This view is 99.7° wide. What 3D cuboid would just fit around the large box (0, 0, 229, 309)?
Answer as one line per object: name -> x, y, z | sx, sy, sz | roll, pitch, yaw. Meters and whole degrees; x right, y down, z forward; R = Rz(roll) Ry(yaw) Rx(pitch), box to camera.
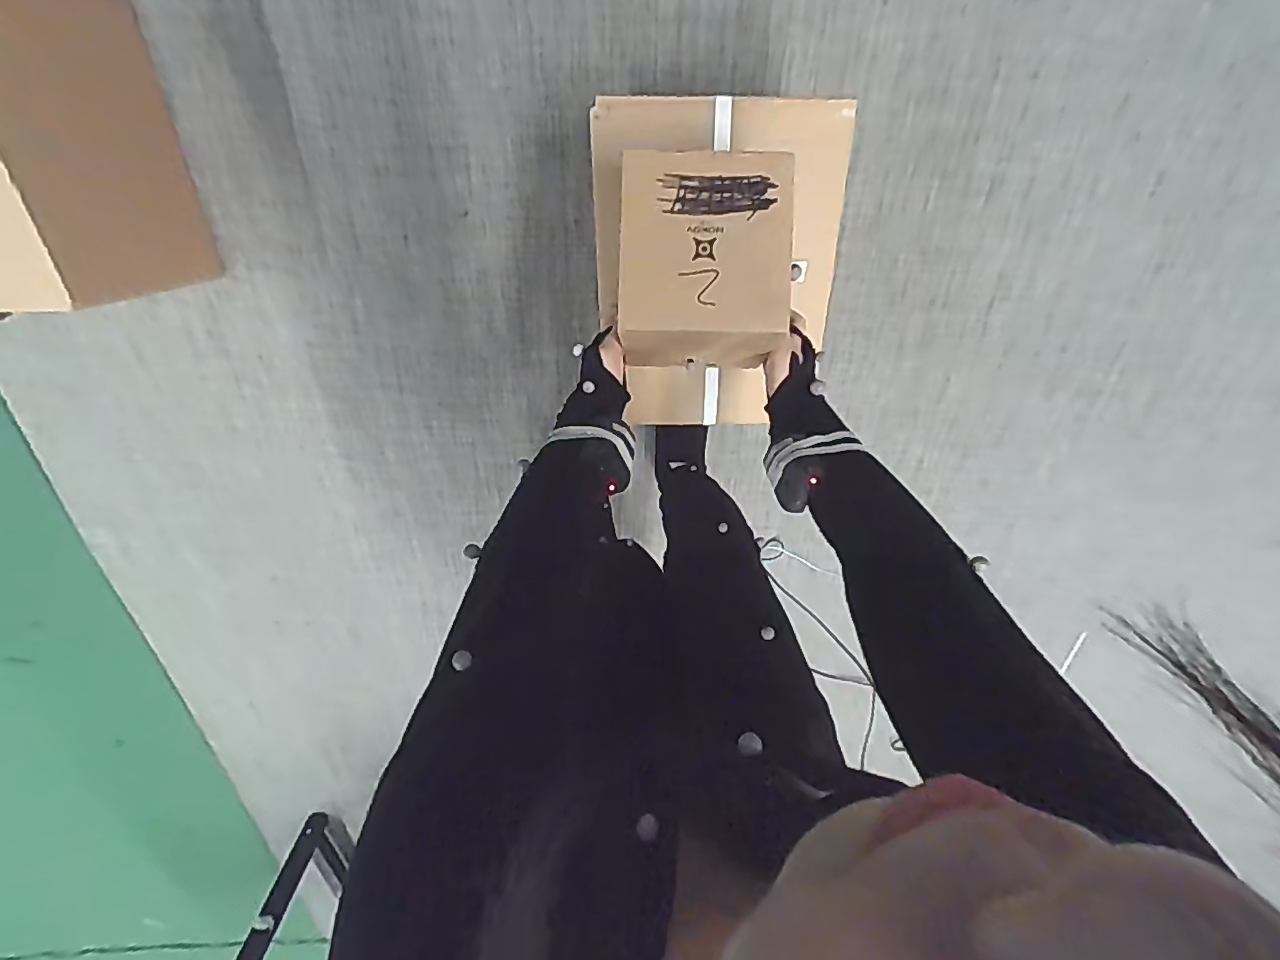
large box -> -0.913, -0.478, 0.783 | 0.320, 0.320, 0.408 | 0, 118, 1
